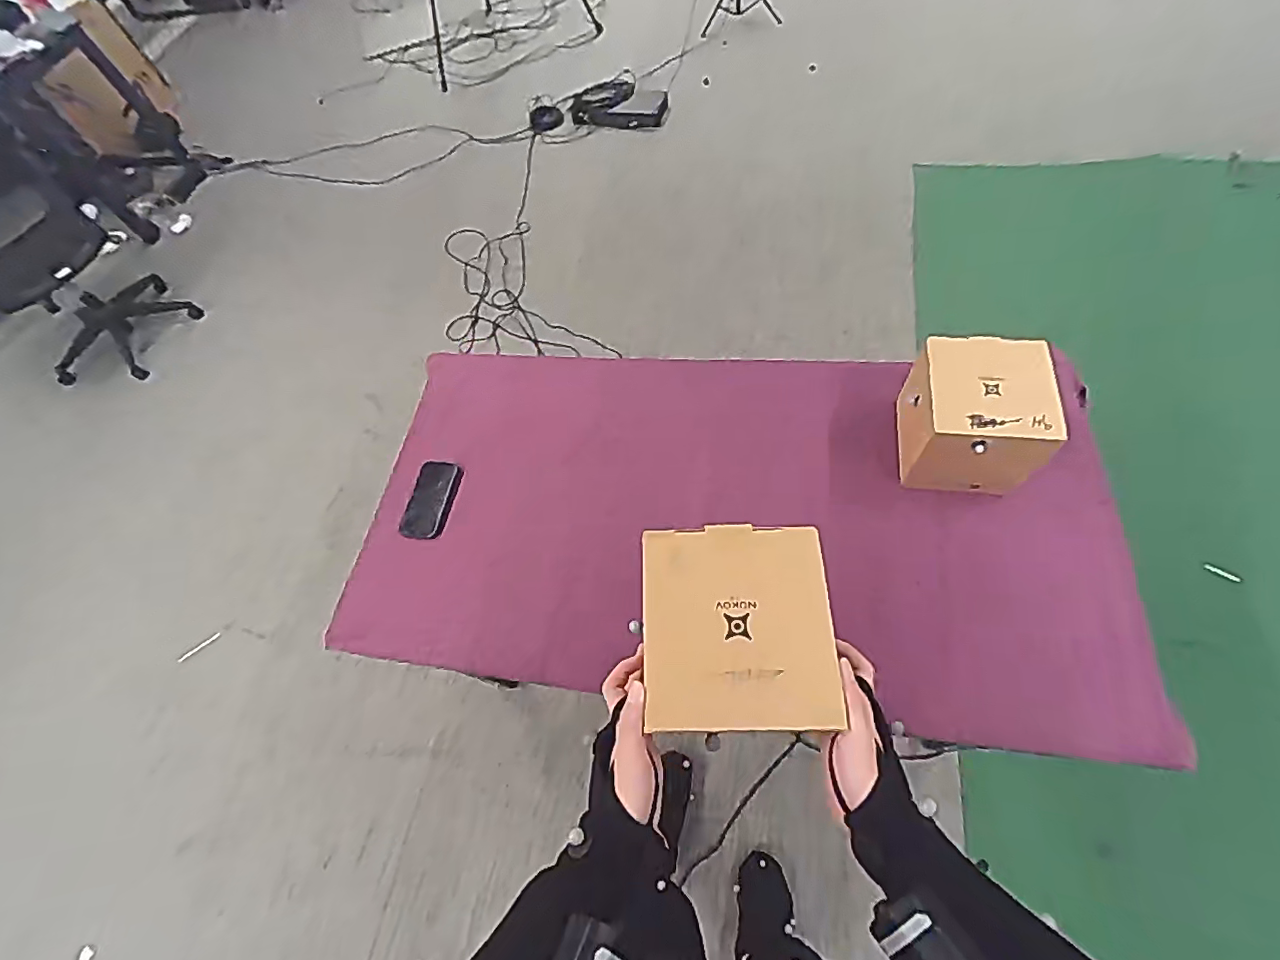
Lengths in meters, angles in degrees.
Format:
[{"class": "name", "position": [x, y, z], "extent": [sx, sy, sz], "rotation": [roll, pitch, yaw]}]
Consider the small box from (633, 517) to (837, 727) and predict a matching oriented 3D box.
[{"class": "small box", "position": [0.080, 0.148, 0.539], "extent": [0.168, 0.176, 0.179], "rotation": [-1, 65, 3]}]

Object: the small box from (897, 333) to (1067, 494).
[{"class": "small box", "position": [0.503, -0.100, 0.828], "extent": [0.168, 0.176, 0.179], "rotation": [5, 62, 12]}]
